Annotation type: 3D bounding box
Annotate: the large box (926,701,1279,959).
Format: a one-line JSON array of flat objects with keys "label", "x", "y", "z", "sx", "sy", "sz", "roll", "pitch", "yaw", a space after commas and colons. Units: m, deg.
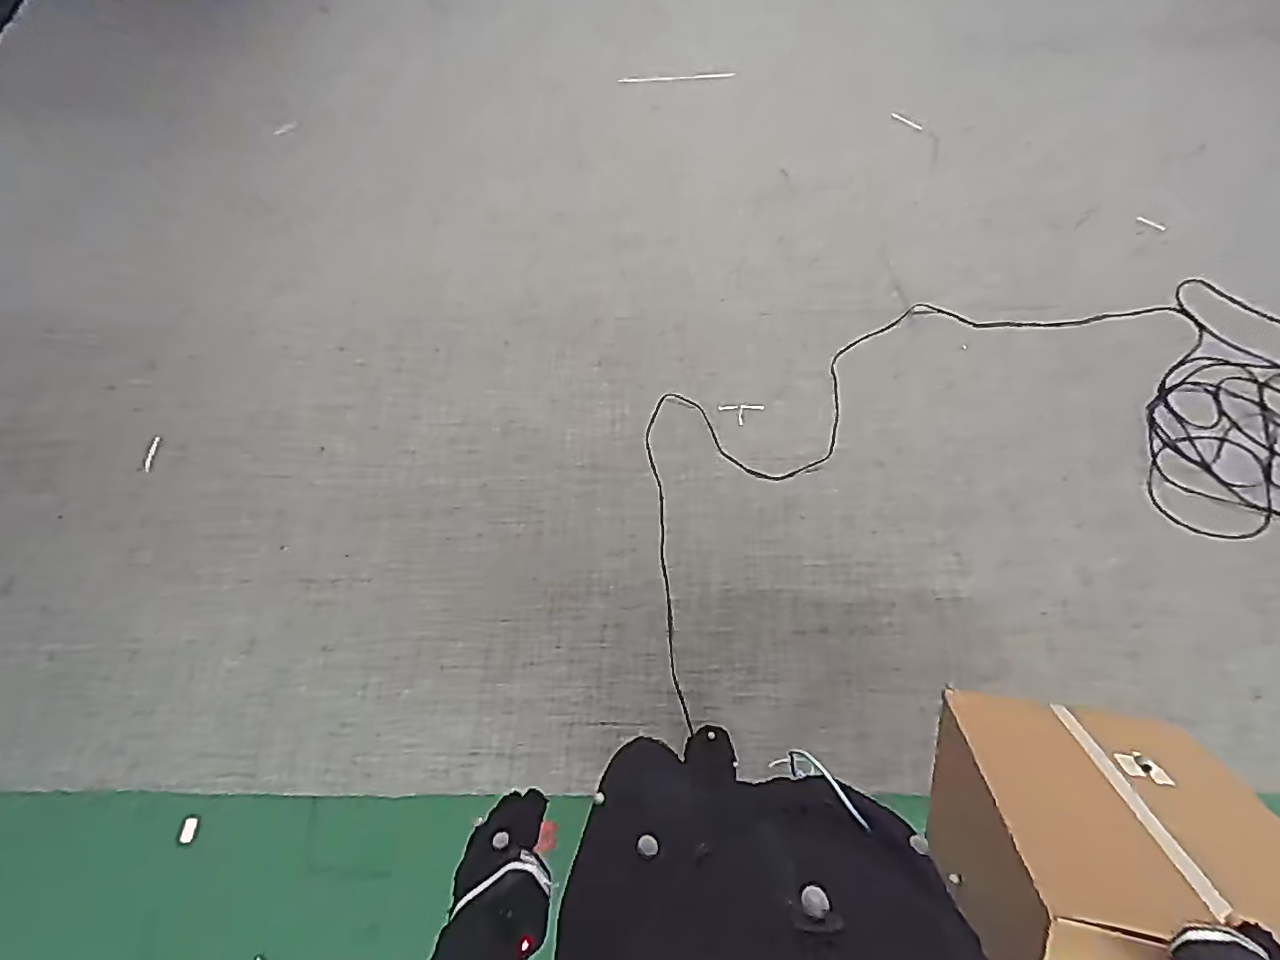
[{"label": "large box", "x": 0.583, "y": 0.546, "z": 0.675, "sx": 0.320, "sy": 0.408, "sz": 0.320, "roll": 5, "pitch": 100, "yaw": 16}]
